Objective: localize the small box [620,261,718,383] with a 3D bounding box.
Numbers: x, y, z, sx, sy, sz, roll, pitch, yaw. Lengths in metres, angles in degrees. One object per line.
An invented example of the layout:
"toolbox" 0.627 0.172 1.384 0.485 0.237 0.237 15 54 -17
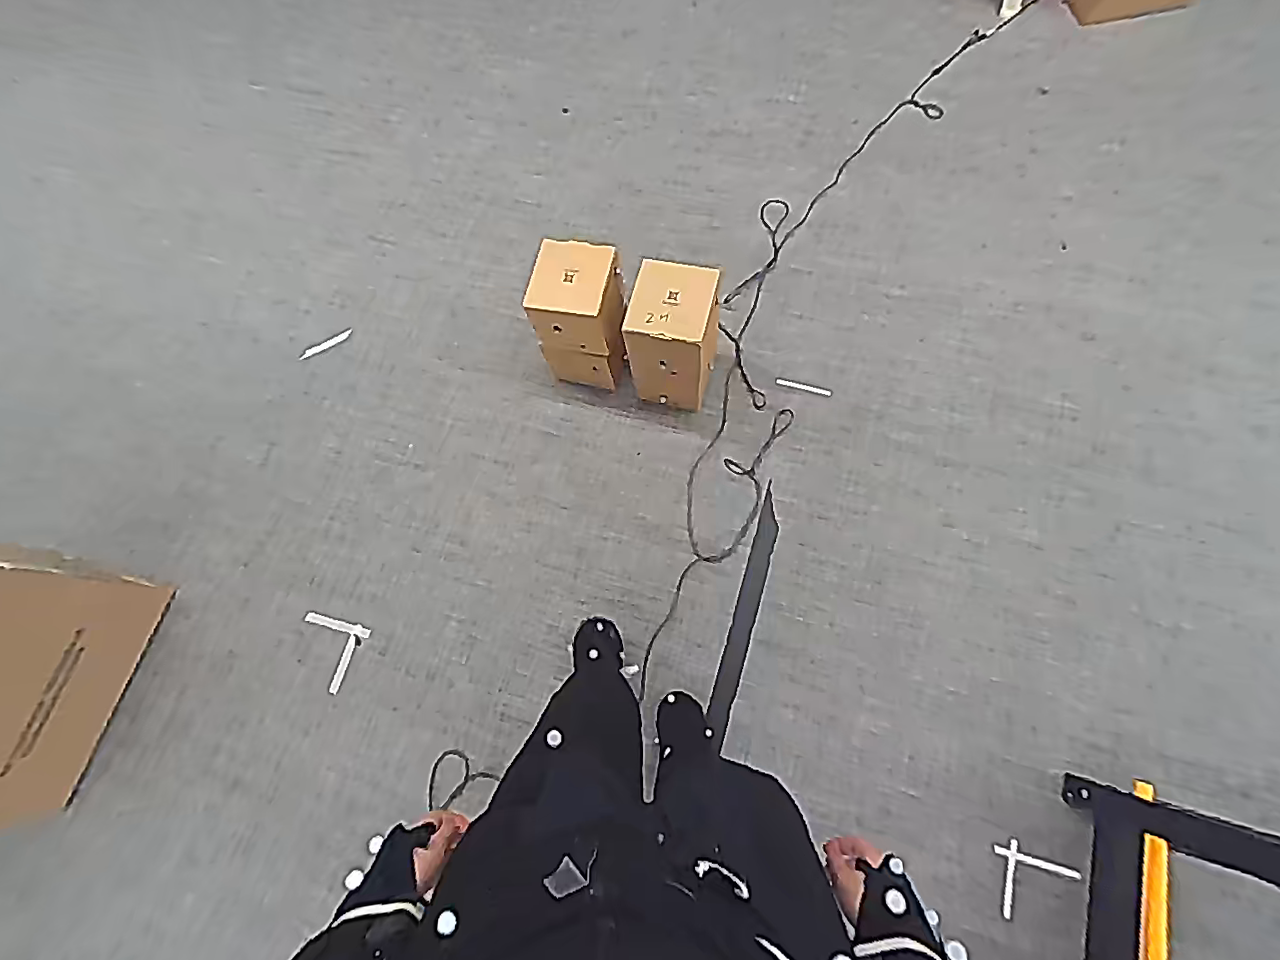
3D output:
"small box" 0.066 -0.336 1.169 0.168 0.176 0.179 13 75 10

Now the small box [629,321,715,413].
"small box" 0.081 -0.289 1.327 0.168 0.176 0.179 15 76 10

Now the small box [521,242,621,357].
"small box" -0.145 -0.397 1.212 0.168 0.176 0.179 10 73 9
